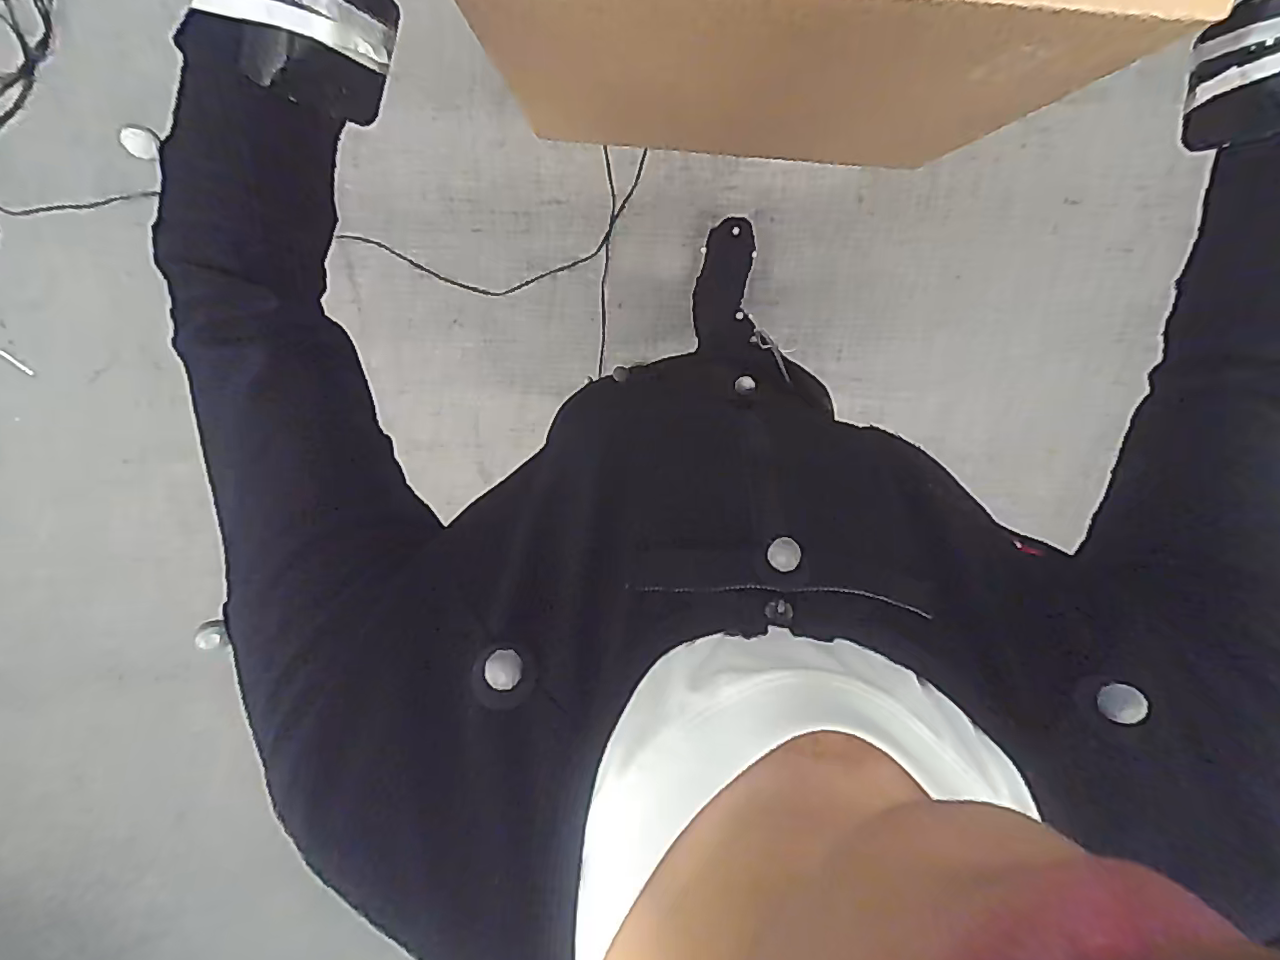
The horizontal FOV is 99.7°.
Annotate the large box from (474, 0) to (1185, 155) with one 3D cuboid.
[{"bbox_3d":[0.101,-0.448,0.379,0.408,0.320,0.320,3,108,-1],"label":"large box"}]
